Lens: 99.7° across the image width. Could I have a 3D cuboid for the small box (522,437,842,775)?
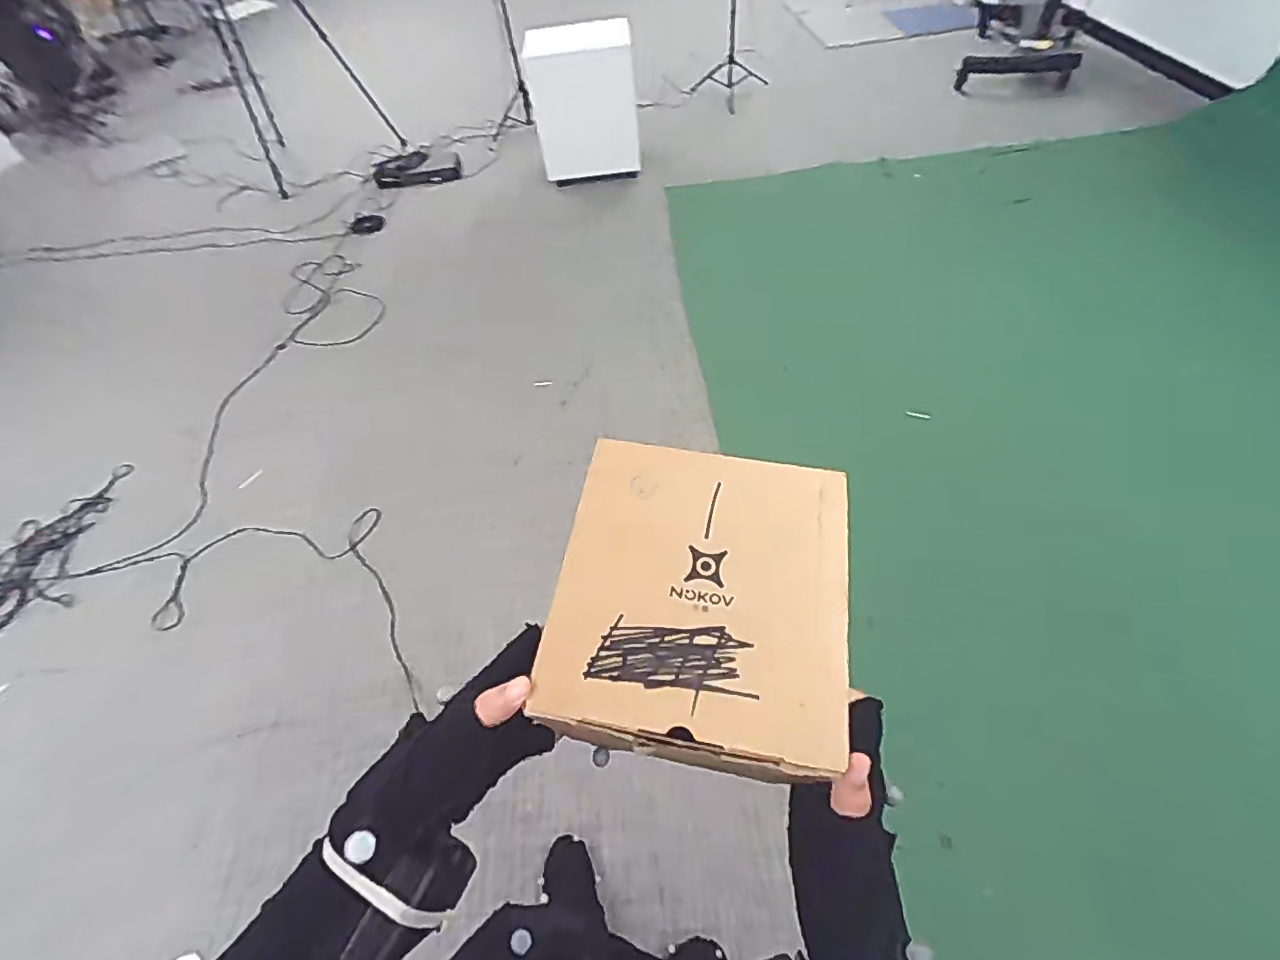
[{"bbox_3d":[0.035,0.096,0.382,0.168,0.176,0.179,9,59,6],"label":"small box"}]
